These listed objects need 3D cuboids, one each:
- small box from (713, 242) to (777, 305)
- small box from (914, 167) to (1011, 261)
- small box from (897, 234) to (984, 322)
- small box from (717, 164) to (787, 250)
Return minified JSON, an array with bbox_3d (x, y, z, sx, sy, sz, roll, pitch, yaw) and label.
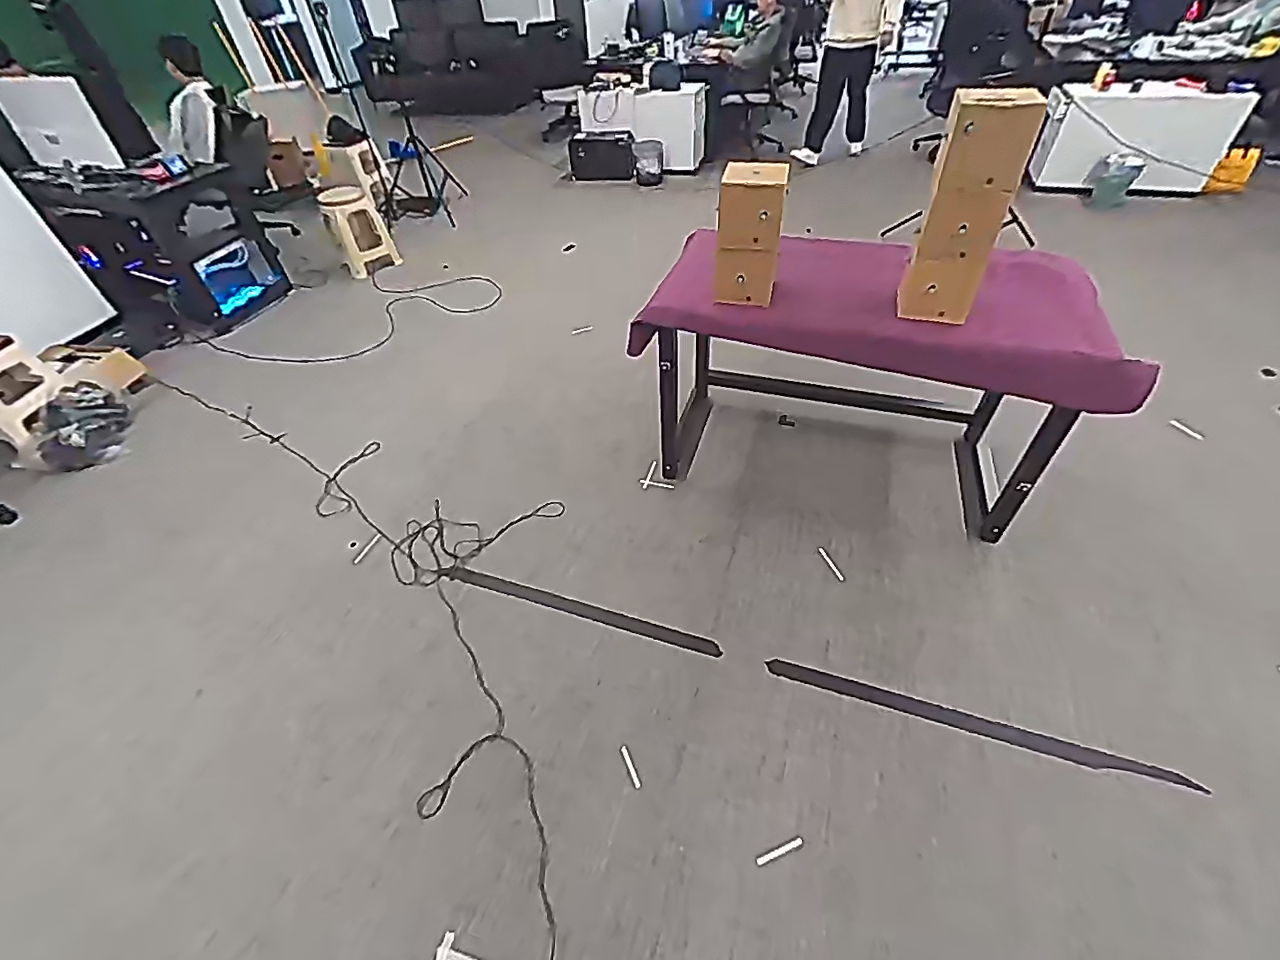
[{"bbox_3d":[0.311,-0.632,1.588,0.168,0.176,0.179,9,46,12],"label":"small box"},{"bbox_3d":[0.803,-0.668,1.361,0.168,0.176,0.179,12,47,16],"label":"small box"},{"bbox_3d":[0.810,-0.549,1.473,0.168,0.176,0.179,11,46,15],"label":"small box"},{"bbox_3d":[0.303,-0.741,1.468,0.168,0.176,0.179,8,45,10],"label":"small box"}]
